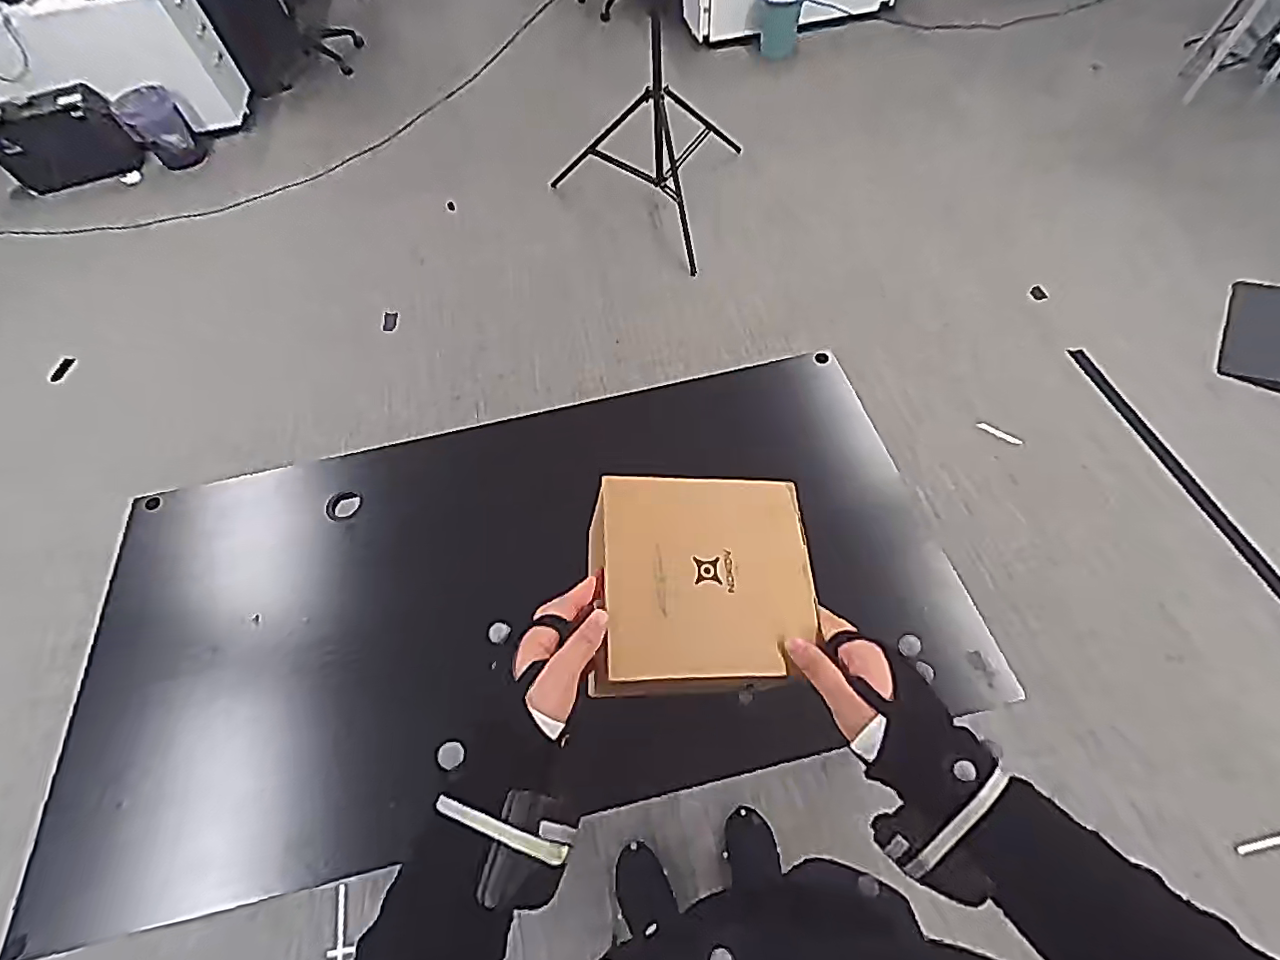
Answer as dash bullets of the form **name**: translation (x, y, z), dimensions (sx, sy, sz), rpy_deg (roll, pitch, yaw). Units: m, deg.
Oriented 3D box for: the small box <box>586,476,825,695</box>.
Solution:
- **small box**: translation (0.043, 0.108, 0.510), dimensions (0.179, 0.176, 0.168), rpy_deg (1, 64, -9)
